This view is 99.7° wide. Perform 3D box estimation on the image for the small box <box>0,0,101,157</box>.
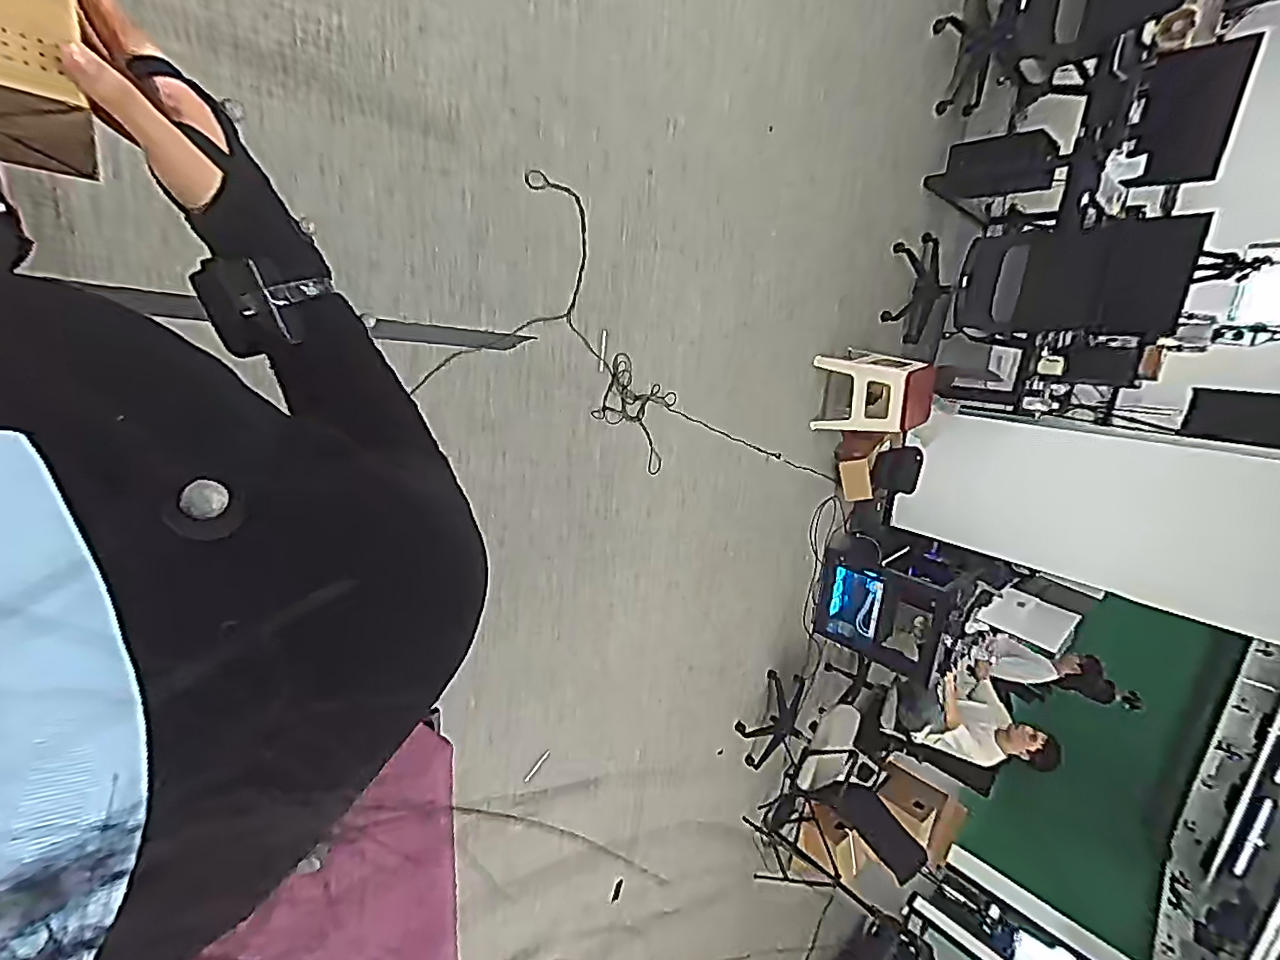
[{"bbox_3d":[-0.416,-0.301,0.292,0.168,0.179,0.176,-5,104,-43],"label":"small box"}]
